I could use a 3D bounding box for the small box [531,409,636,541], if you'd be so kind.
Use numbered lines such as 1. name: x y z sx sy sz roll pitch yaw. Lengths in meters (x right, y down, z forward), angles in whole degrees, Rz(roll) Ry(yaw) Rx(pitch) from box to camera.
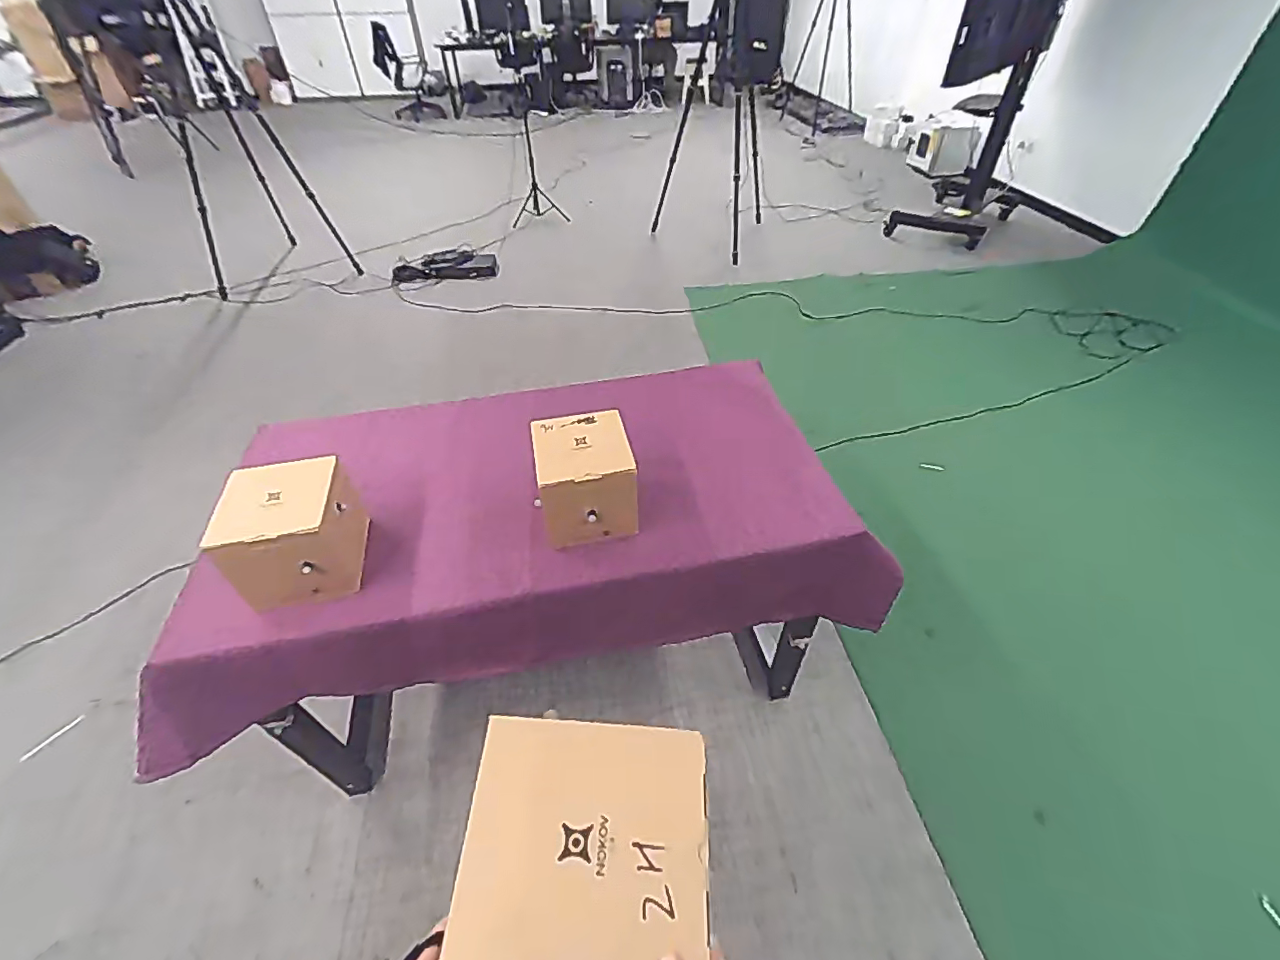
1. small box: -0.102 -0.003 0.995 0.168 0.176 0.179 -9 46 -8

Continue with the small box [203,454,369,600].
1. small box: -0.577 0.084 0.911 0.168 0.176 0.179 -9 44 -10

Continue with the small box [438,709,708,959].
1. small box: -0.045 0.306 0.451 0.179 0.176 0.168 6 52 -3
